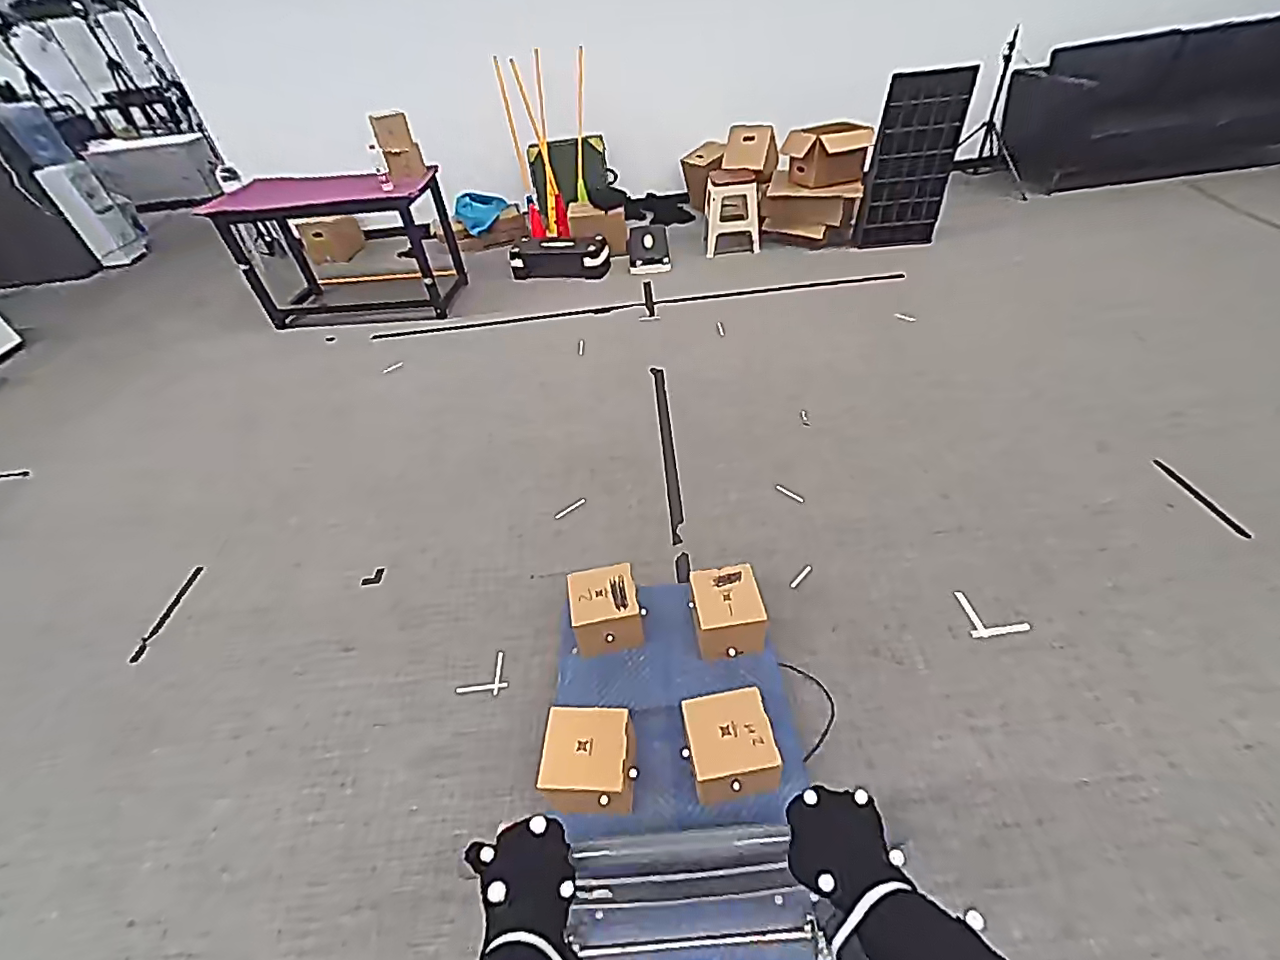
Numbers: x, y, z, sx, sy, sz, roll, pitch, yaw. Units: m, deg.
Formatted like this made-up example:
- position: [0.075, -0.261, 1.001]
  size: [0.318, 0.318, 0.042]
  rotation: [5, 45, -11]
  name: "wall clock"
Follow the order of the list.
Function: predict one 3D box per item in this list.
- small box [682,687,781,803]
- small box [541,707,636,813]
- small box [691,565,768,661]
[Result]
- position: [0.198, 0.587, 1.192]
  size: [0.179, 0.176, 0.168]
  rotation: [-10, 43, -2]
  name: "small box"
- position: [-0.105, 0.622, 1.199]
  size: [0.179, 0.176, 0.168]
  rotation: [-1, 43, 5]
  name: "small box"
- position: [0.230, 0.353, 1.435]
  size: [0.168, 0.176, 0.179]
  rotation: [-9, 44, -1]
  name: "small box"
